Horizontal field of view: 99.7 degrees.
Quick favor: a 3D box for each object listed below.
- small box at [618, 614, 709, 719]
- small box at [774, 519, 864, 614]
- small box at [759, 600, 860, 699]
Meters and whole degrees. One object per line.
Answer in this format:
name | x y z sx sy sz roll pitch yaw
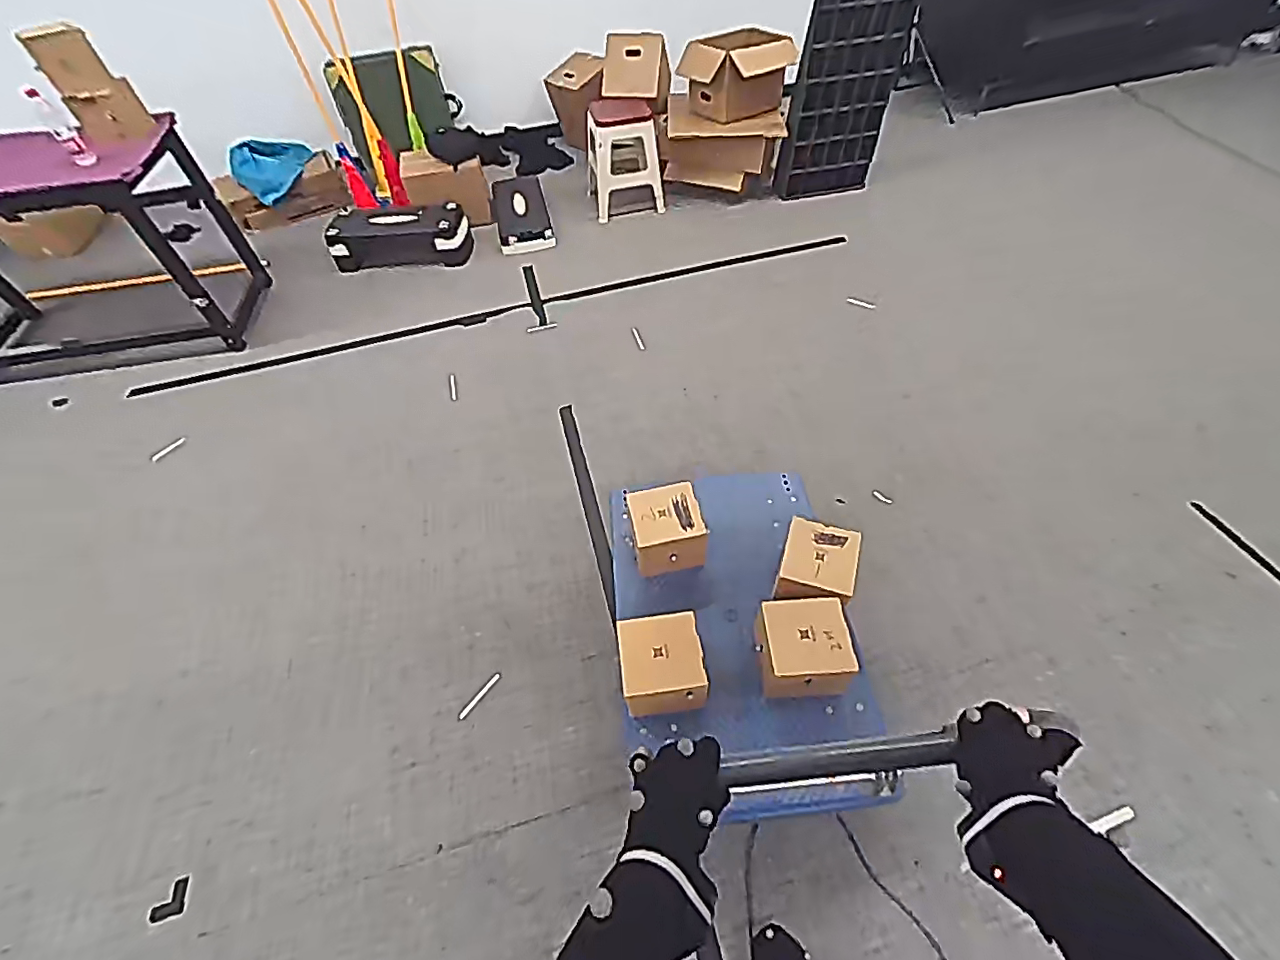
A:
small box | 0.052 0.420 1.209 0.179 0.176 0.168 -7 52 -3
small box | 0.434 0.227 1.325 0.168 0.176 0.179 14 56 15
small box | 0.367 0.384 1.211 0.179 0.176 0.168 -4 53 2
